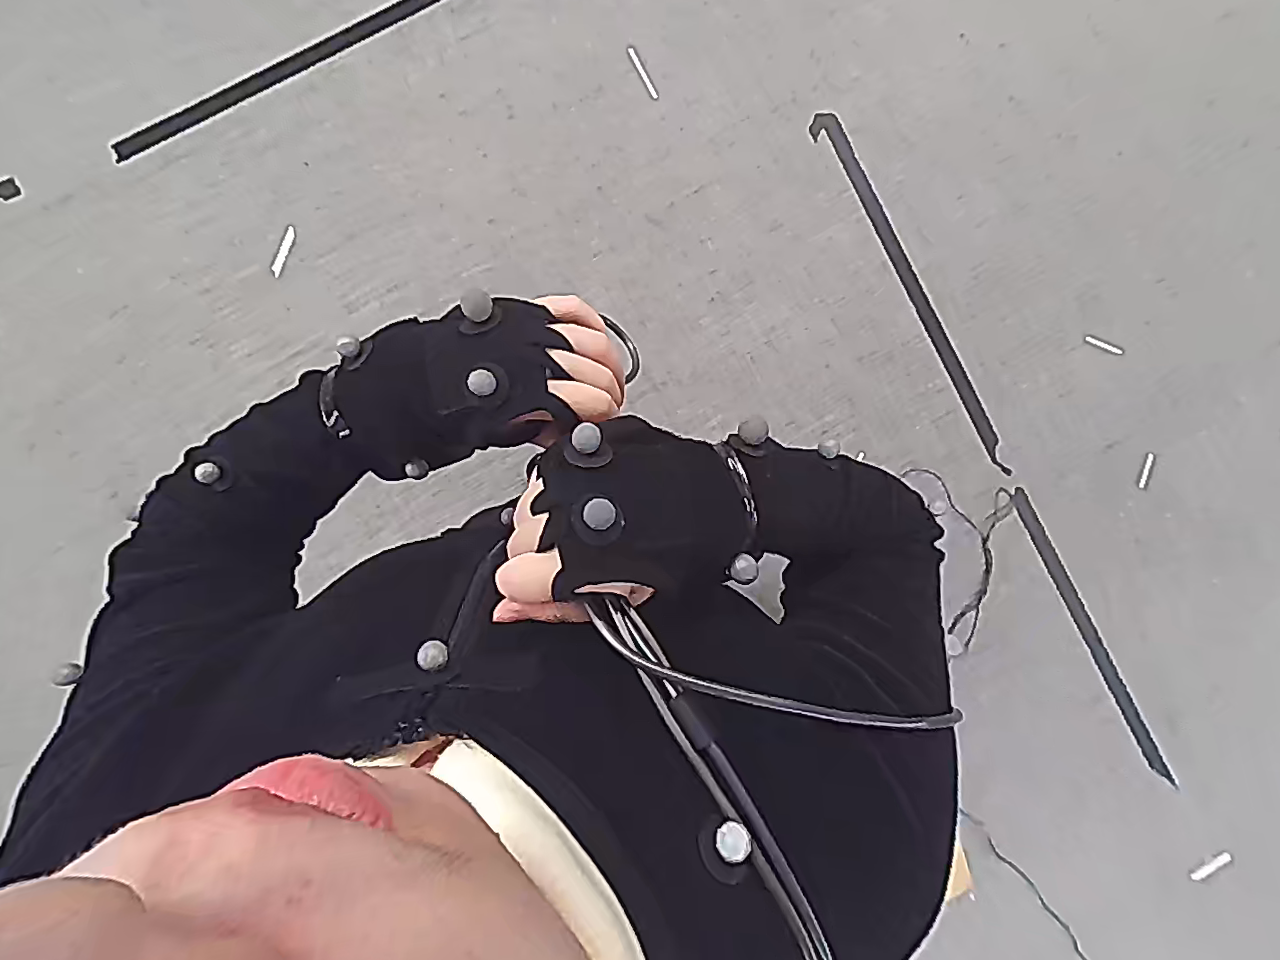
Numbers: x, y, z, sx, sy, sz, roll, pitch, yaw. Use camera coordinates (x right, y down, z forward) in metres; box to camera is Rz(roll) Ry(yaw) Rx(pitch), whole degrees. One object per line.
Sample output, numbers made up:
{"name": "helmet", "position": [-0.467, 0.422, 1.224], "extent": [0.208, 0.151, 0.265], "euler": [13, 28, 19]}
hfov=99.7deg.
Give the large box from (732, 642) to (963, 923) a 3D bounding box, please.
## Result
{"name": "large box", "position": [0.438, 0.641, 1.217], "extent": [0.320, 0.320, 0.408], "euler": [-16, 93, -2]}
